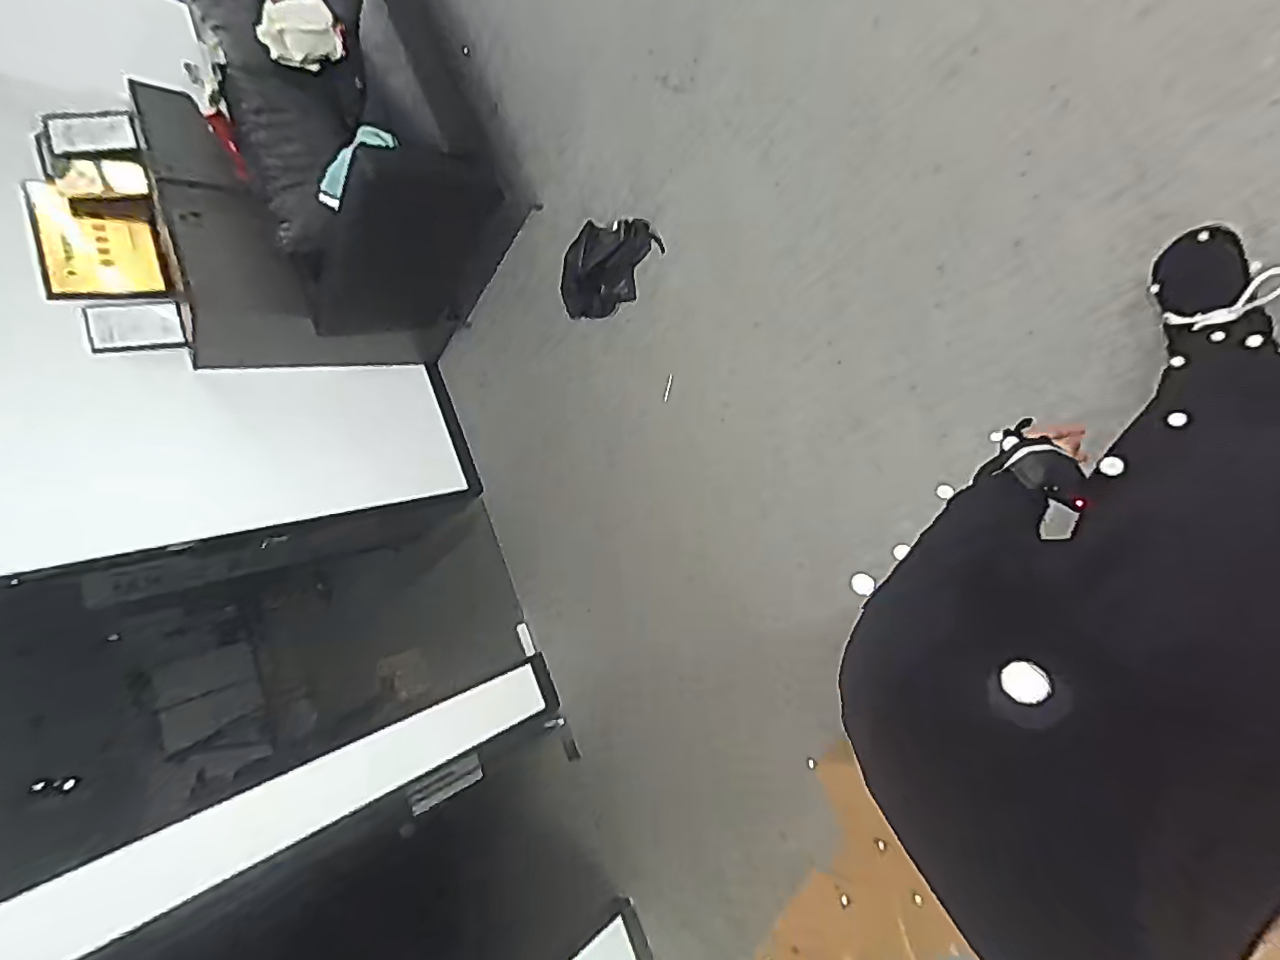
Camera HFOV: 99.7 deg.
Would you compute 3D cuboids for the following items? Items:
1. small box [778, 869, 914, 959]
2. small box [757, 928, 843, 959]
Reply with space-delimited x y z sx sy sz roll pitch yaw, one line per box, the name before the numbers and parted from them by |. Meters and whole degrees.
small box | 0.394 0.890 1.017 0.168 0.176 0.179 -20 83 48
small box | 0.280 0.914 0.904 0.168 0.176 0.179 -19 85 49
